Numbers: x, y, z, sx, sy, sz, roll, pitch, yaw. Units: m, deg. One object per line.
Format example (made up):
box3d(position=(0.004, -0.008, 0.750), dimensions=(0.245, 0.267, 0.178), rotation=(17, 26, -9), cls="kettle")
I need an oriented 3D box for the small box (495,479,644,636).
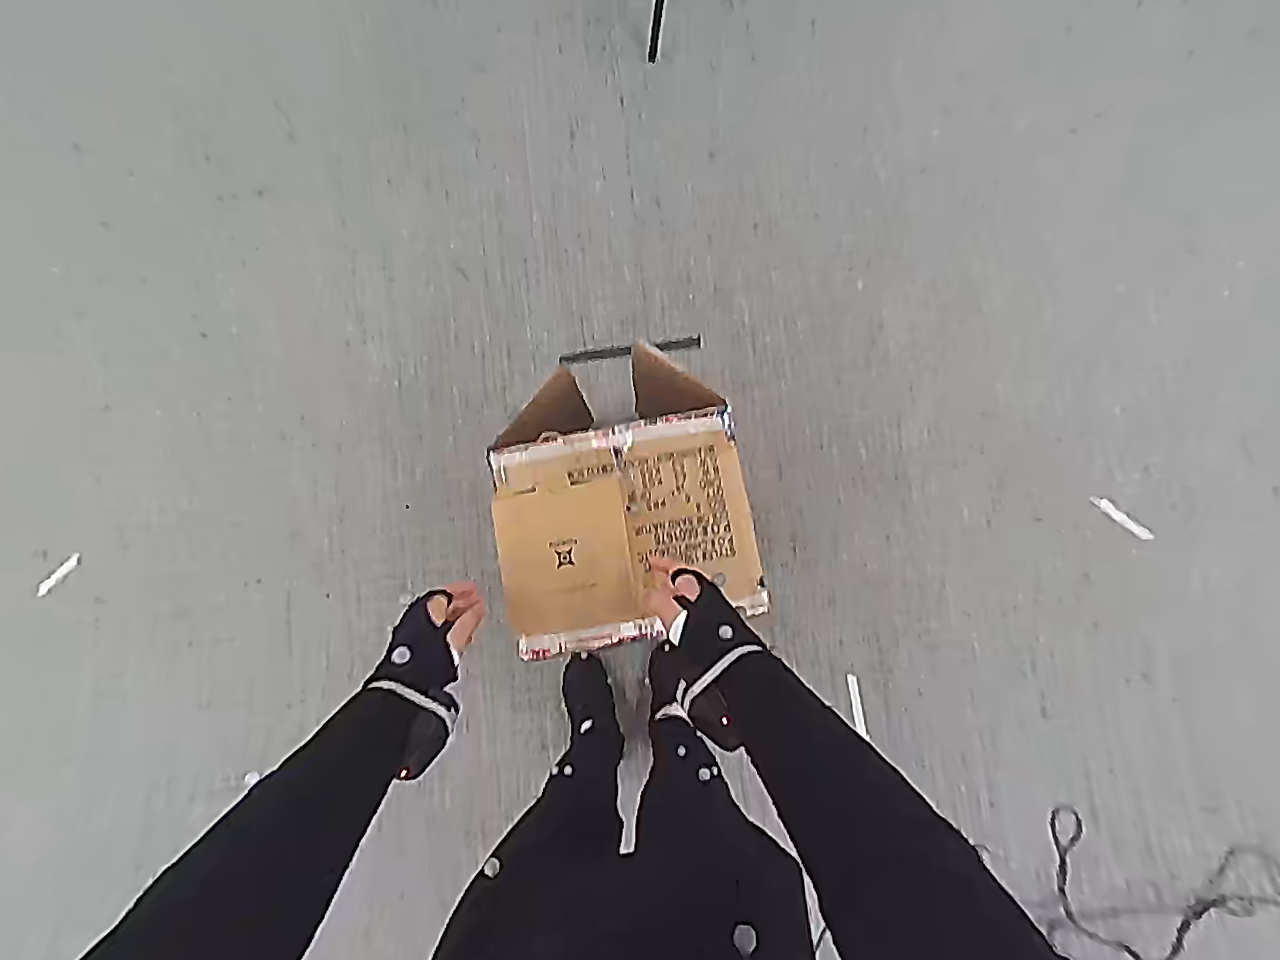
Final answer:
box3d(position=(-0.089, 0.102, 0.757), dimensions=(0.168, 0.176, 0.179), rotation=(-10, 87, 2), cls="small box")
